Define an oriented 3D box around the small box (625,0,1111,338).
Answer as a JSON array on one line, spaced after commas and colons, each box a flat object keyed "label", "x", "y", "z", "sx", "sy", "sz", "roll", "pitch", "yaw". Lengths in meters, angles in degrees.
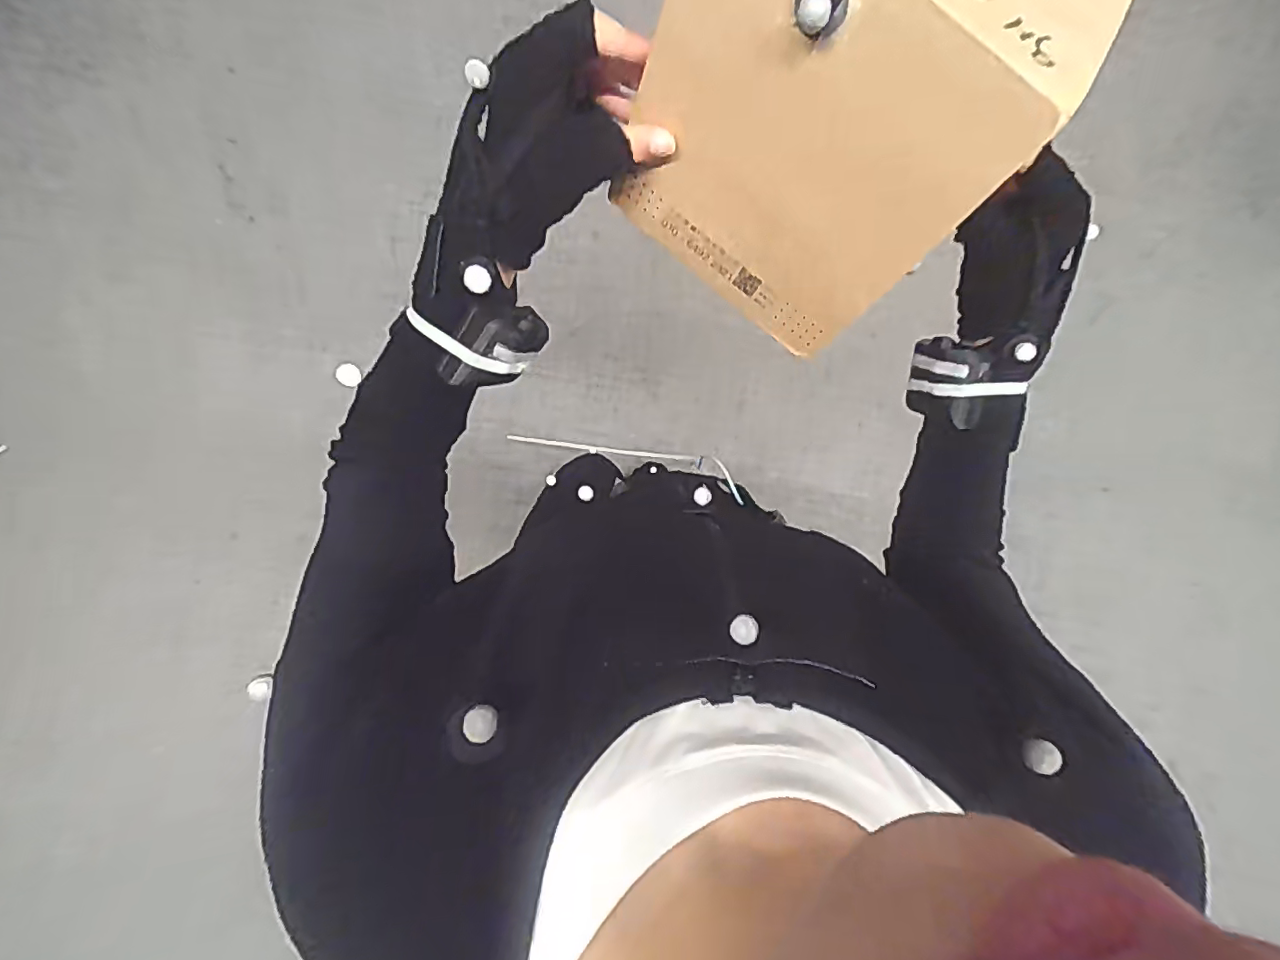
[{"label": "small box", "x": 0.114, "y": -0.222, "z": 0.311, "sx": 0.168, "sy": 0.176, "sz": 0.179, "roll": 39, "pitch": 62, "yaw": -1}]
